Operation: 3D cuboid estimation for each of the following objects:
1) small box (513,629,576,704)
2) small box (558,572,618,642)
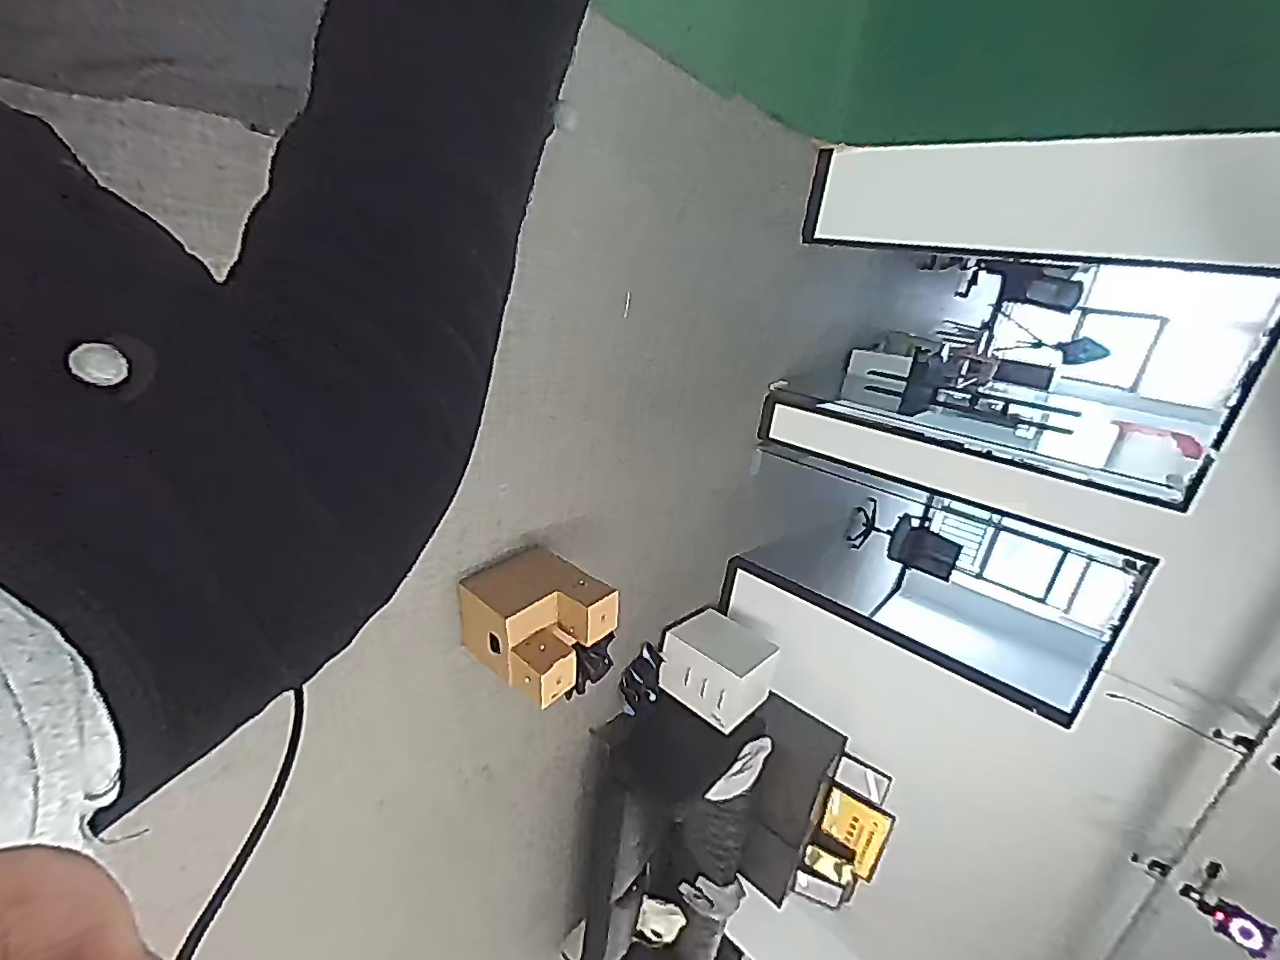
[{"bbox_3d":[-0.351,0.673,1.987,0.168,0.176,0.179,-26,129,-43],"label":"small box"},{"bbox_3d":[-0.202,0.483,2.081,0.168,0.176,0.179,-24,123,-46],"label":"small box"}]
